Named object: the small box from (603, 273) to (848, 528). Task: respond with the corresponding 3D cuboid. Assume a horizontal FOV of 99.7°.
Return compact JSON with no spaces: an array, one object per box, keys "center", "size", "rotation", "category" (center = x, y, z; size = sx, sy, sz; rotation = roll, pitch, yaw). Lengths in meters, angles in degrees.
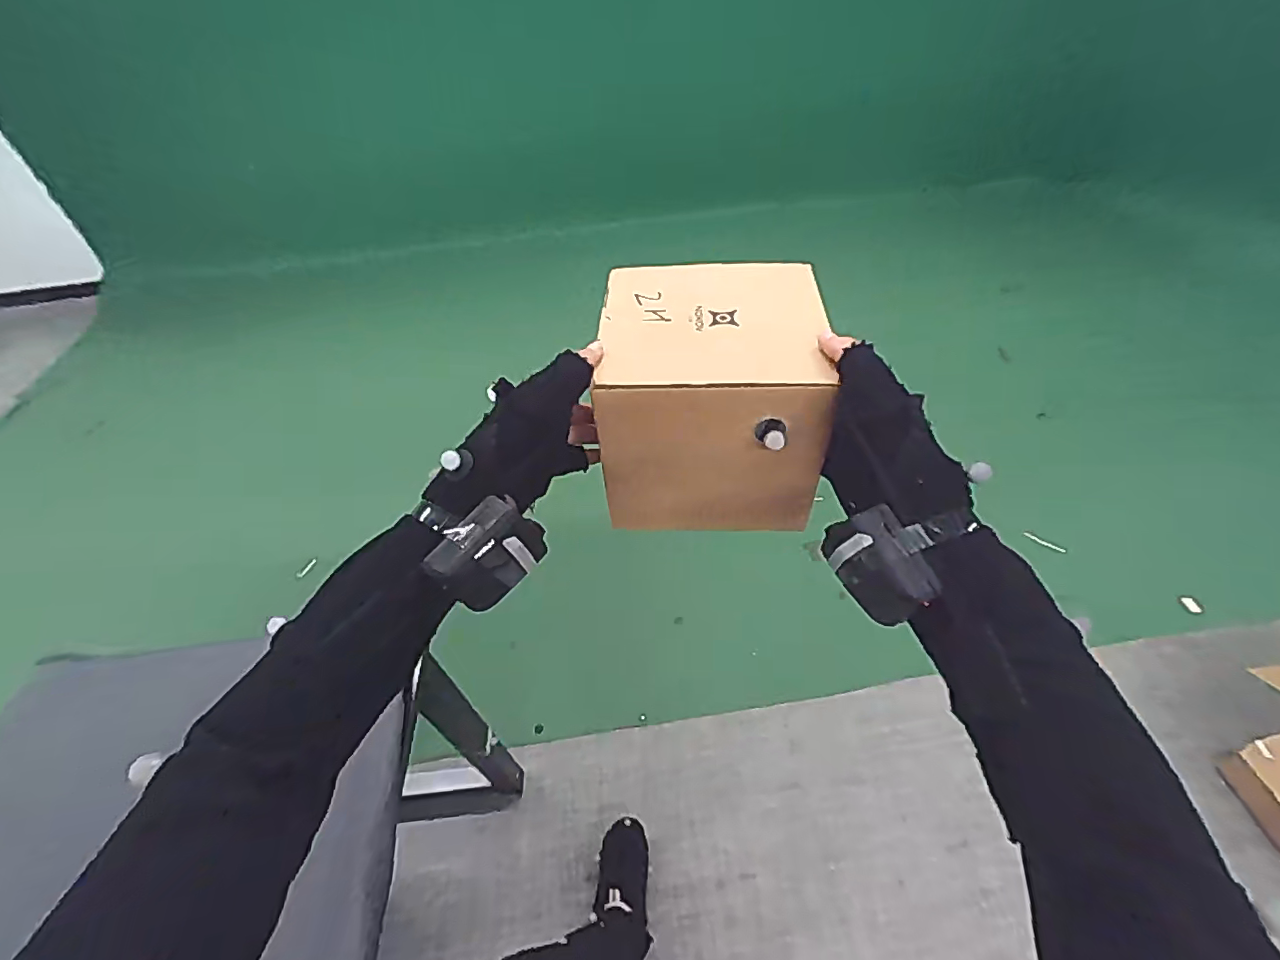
[{"center":[0.067,-0.069,0.492],"size":[0.179,0.176,0.168],"rotation":[0,47,4],"category":"small box"}]
